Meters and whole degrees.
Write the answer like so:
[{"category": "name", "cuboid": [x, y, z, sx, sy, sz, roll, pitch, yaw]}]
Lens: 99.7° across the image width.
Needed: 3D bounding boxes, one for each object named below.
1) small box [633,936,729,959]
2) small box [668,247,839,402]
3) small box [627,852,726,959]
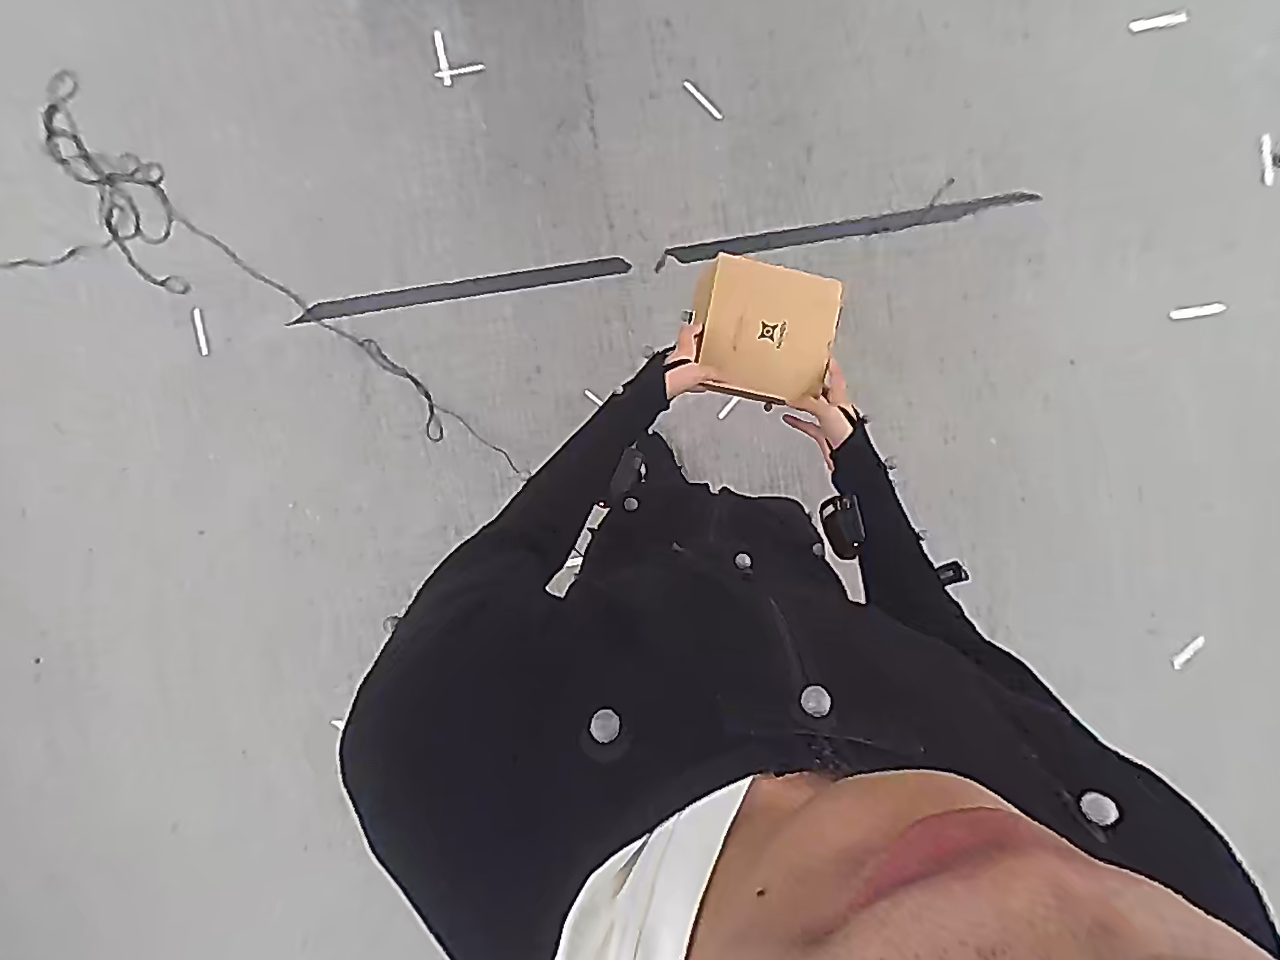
[{"category": "small box", "cuboid": [0.083, 0.898, 0.885, 0.168, 0.176, 0.179, -15, 95, 2]}, {"category": "small box", "cuboid": [0.149, -0.211, 0.775, 0.179, 0.176, 0.168, 10, 97, -7]}, {"category": "small box", "cuboid": [0.075, 0.873, 1.048, 0.168, 0.176, 0.179, -12, 94, 1]}]
